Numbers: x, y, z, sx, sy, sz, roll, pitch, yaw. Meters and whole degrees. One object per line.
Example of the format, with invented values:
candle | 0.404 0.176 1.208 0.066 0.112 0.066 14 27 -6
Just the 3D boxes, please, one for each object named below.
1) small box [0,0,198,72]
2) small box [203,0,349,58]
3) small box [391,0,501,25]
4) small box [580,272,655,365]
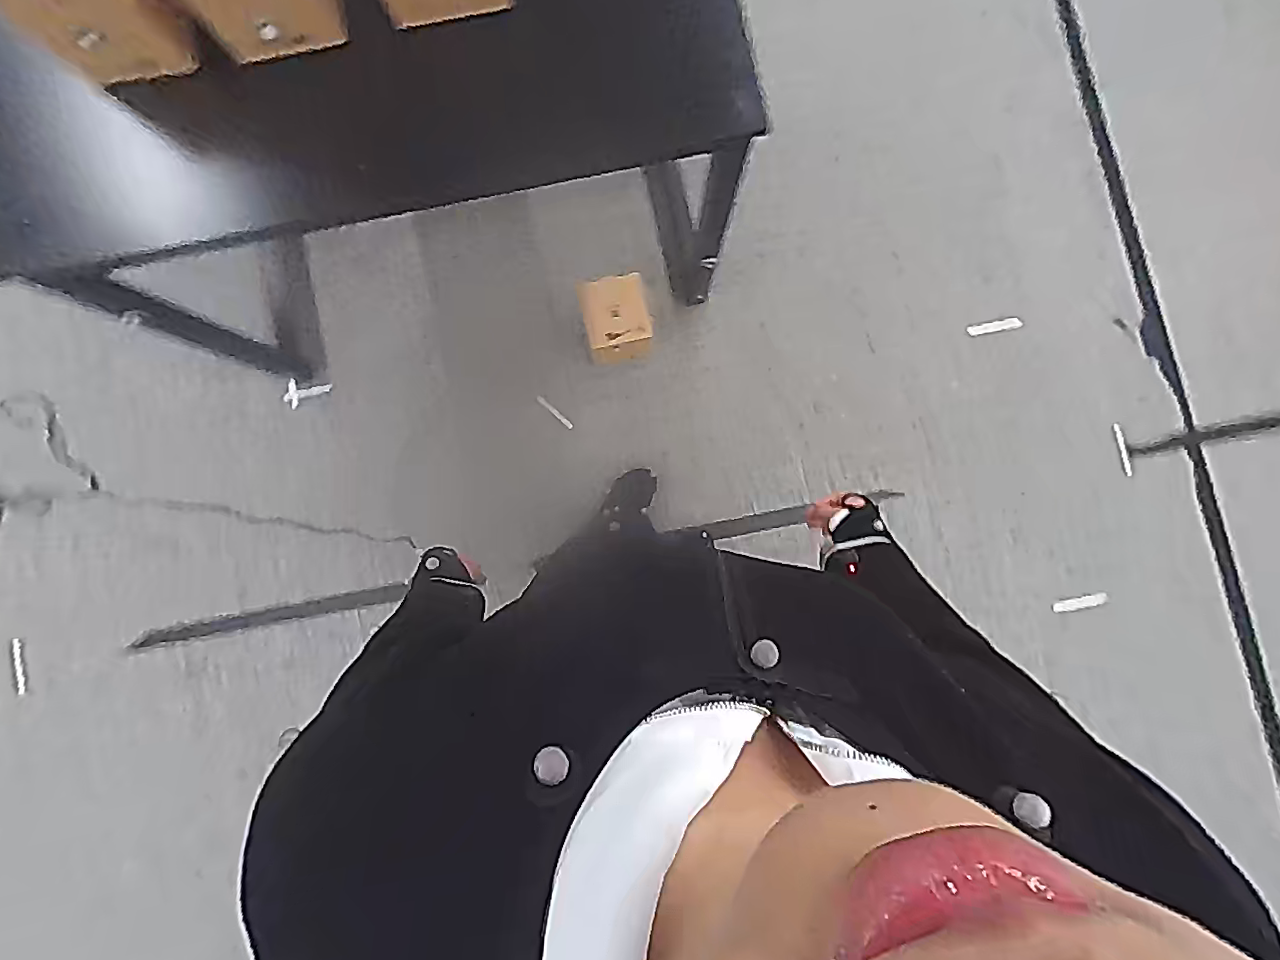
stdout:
small box | -0.757 -0.705 0.746 0.168 0.176 0.179 -8 86 -1
small box | -0.536 -0.743 0.748 0.168 0.176 0.179 -11 87 0
small box | -0.292 -0.790 0.751 0.179 0.176 0.168 -11 85 0
small box | -0.059 -0.428 1.456 0.168 0.176 0.179 -12 86 0
